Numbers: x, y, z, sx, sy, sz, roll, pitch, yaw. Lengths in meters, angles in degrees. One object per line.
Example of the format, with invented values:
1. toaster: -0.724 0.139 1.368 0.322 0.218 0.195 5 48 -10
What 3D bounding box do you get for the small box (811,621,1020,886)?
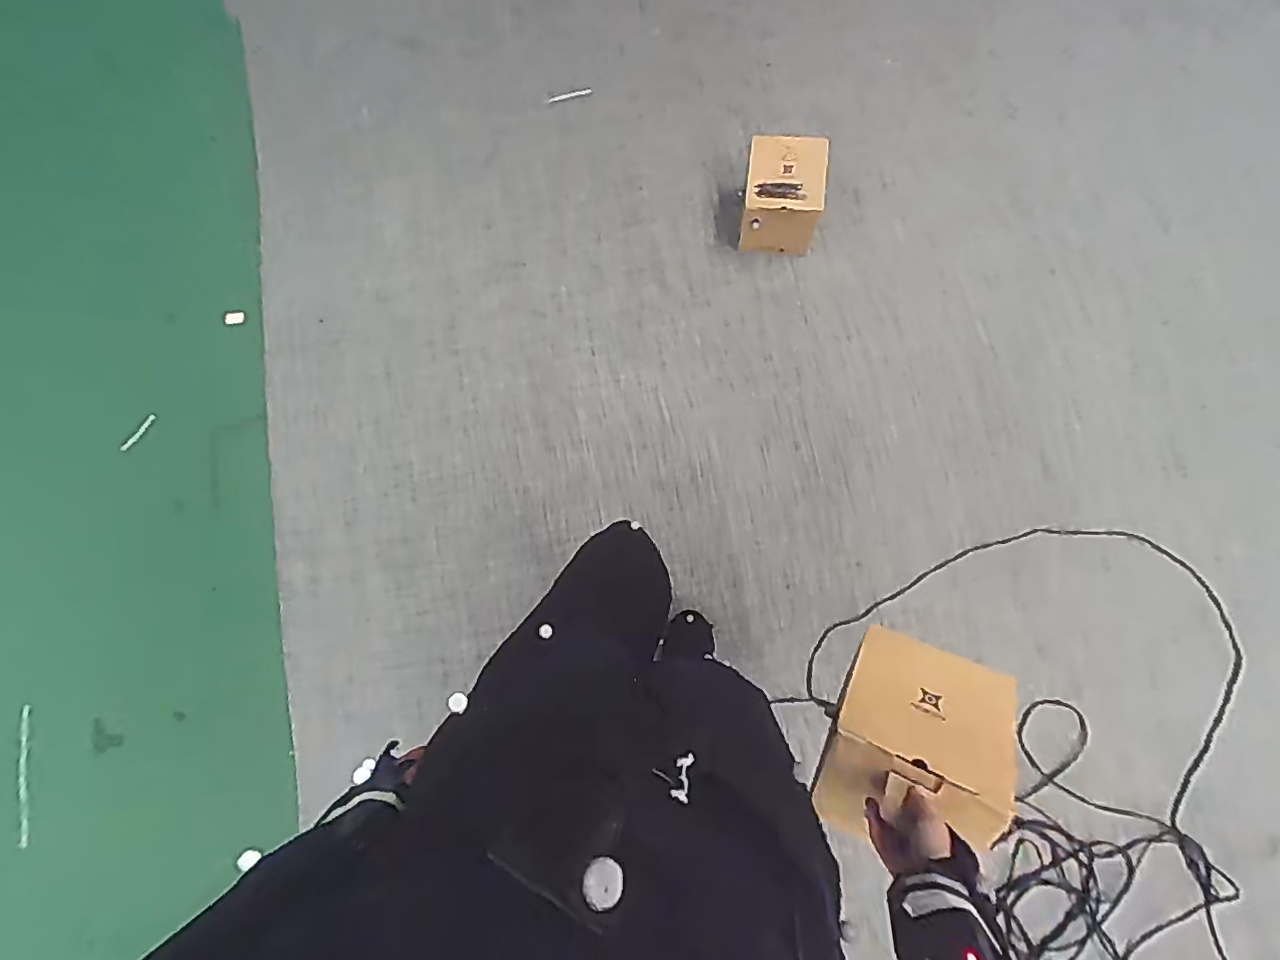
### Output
1. small box: 0.311 0.306 0.624 0.168 0.179 0.176 19 126 25
